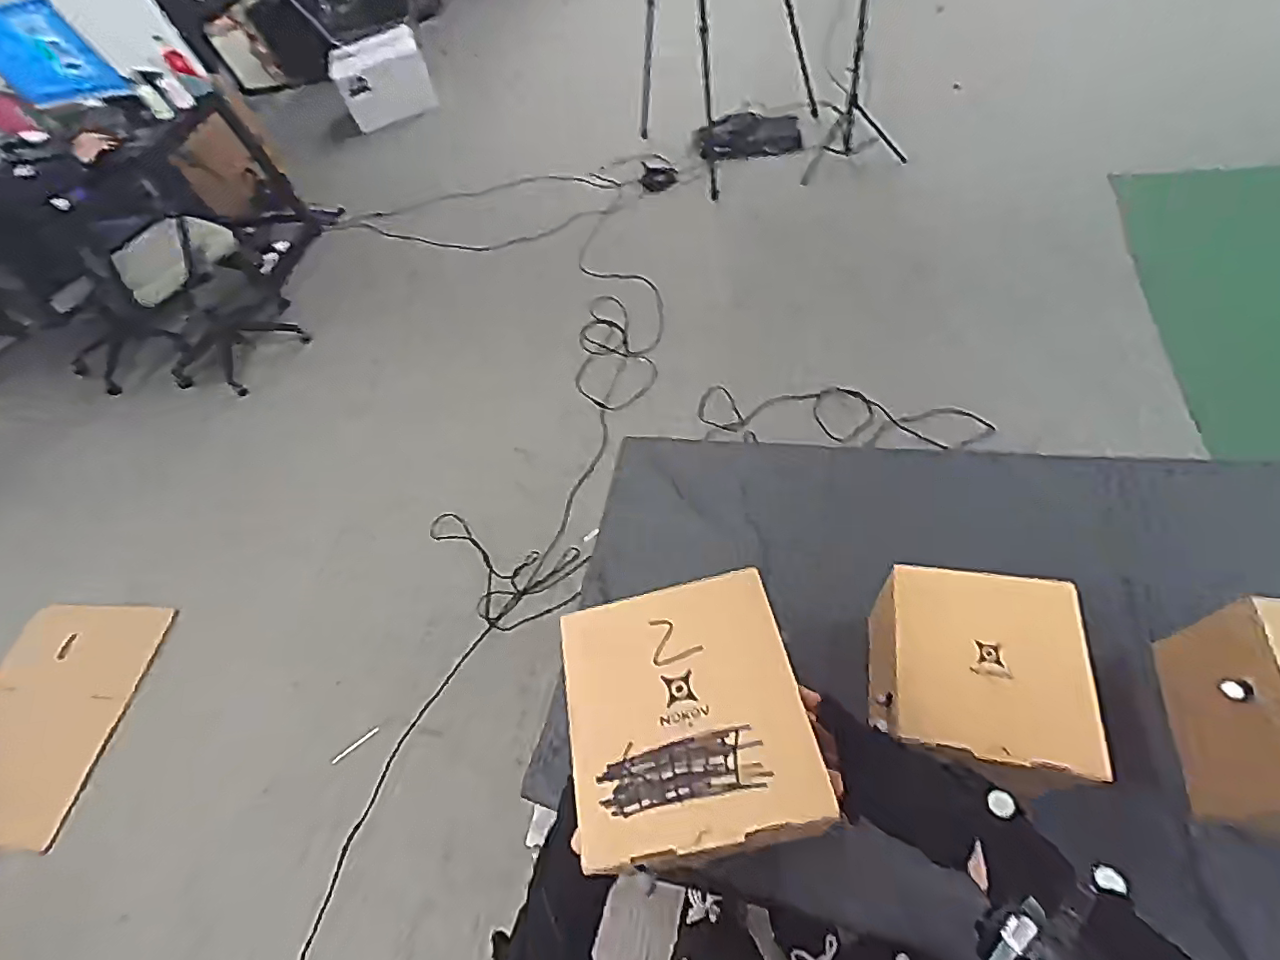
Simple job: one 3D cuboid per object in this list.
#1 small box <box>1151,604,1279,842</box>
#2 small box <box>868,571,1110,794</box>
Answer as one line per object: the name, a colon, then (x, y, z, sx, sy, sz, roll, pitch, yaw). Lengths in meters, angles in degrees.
small box: (0.632, 0.237, 0.501, 0.168, 0.176, 0.179, 5, 59, 16)
small box: (0.345, 0.219, 0.579, 0.168, 0.176, 0.179, 5, 59, 15)
